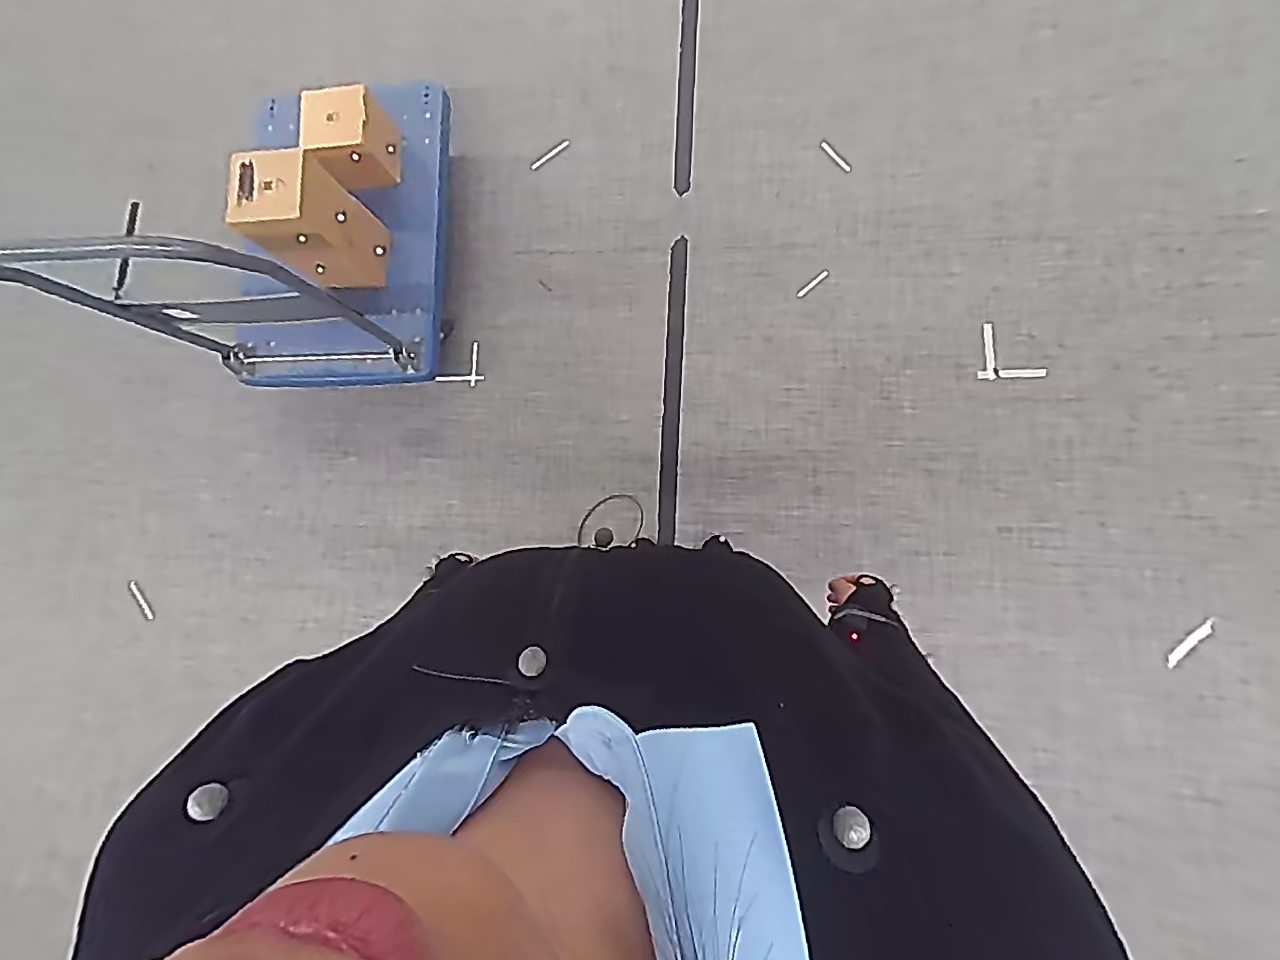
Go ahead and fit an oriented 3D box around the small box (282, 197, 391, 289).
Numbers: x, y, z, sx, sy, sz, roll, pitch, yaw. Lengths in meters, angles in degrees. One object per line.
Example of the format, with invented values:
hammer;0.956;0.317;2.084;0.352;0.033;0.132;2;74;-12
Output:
small box;-0.788;-0.614;1.416;0.179;0.176;0.168;3;84;6

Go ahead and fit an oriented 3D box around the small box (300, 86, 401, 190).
small box;-0.771;-0.907;1.451;0.179;0.176;0.168;-3;83;5
